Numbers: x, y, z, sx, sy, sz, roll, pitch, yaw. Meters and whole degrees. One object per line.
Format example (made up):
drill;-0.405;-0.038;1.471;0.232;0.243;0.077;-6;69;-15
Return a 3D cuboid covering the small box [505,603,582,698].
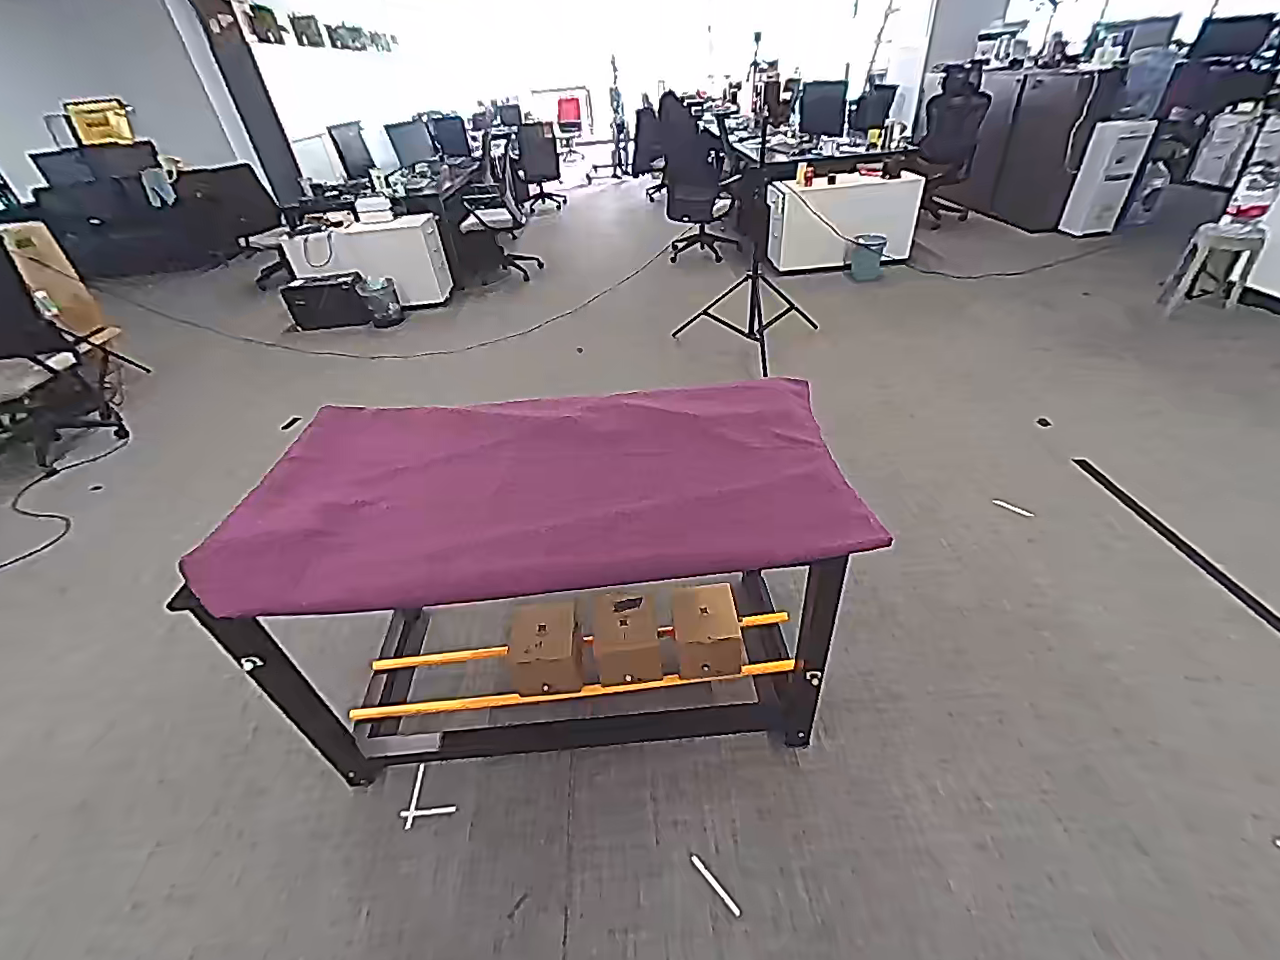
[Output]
small box;-0.248;0.452;1.435;0.168;0.176;0.179;-5;39;1

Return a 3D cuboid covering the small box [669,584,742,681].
small box;0.169;0.405;1.437;0.168;0.176;0.179;-7;39;0
